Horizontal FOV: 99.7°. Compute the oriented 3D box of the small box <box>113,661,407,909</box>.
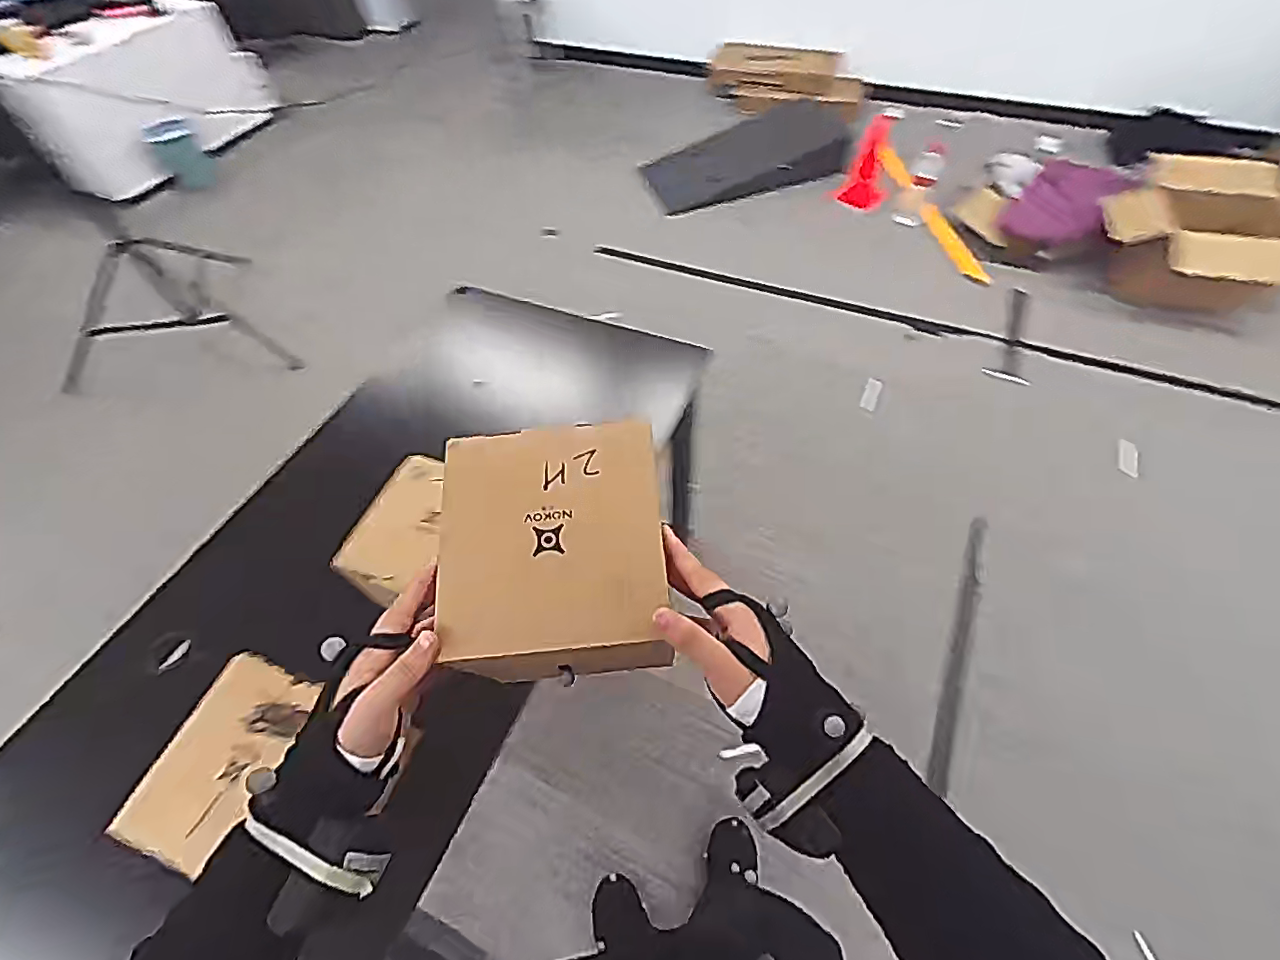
[{"bbox_3d":[-0.390,0.332,0.599,0.168,0.176,0.179,15,58,13],"label":"small box"}]

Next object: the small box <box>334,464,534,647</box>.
[{"bbox_3d":[-0.265,0.109,0.748,0.168,0.176,0.179,14,58,14],"label":"small box"}]
